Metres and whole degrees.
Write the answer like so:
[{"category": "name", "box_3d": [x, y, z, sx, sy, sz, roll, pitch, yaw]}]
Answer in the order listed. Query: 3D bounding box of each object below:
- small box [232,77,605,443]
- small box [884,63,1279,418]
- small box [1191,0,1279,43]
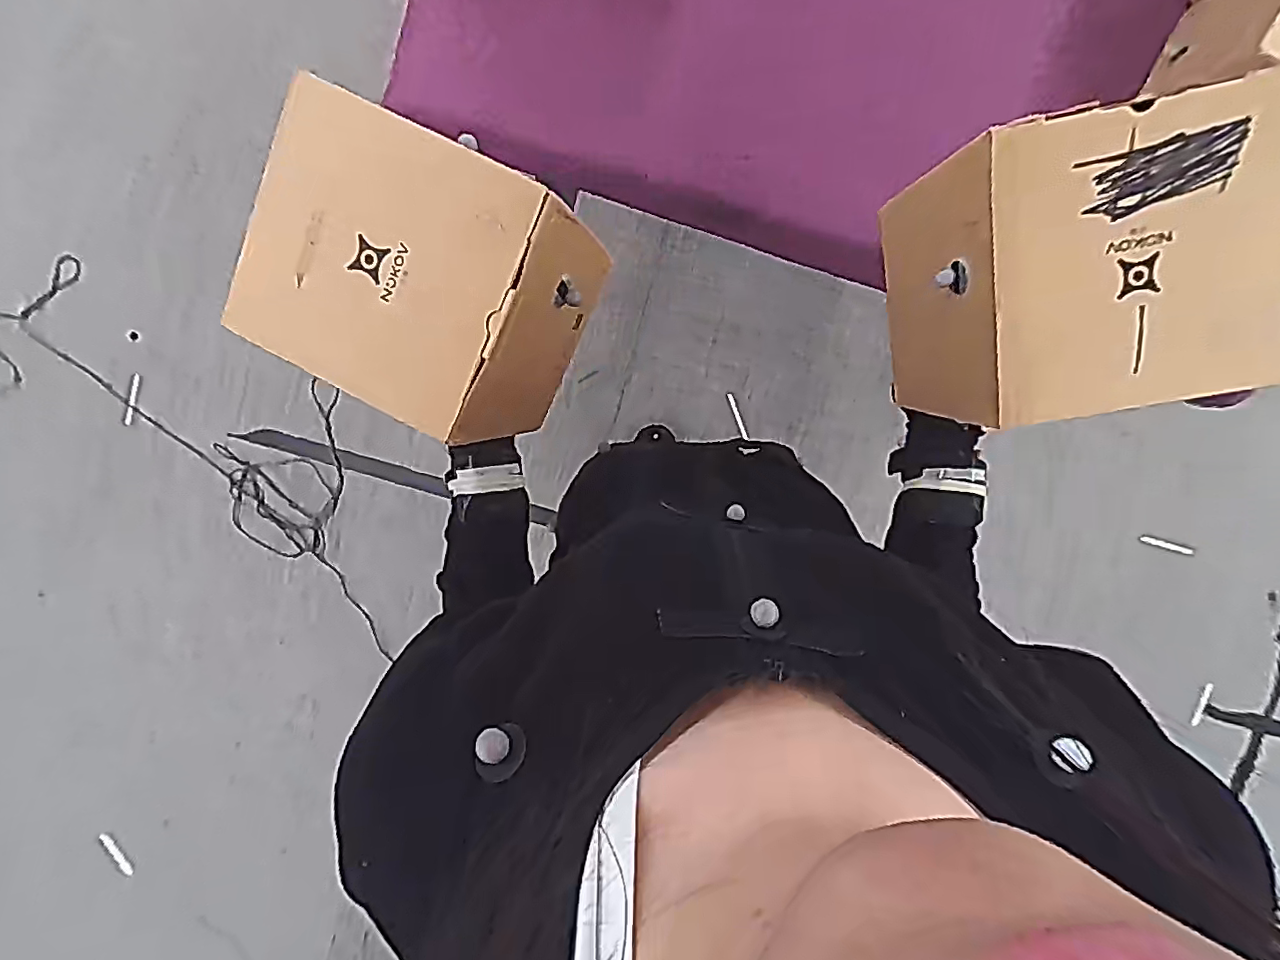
[{"category": "small box", "box_3d": [-0.145, -0.145, 0.410, 0.179, 0.176, 0.168, 26, 102, 5]}, {"category": "small box", "box_3d": [0.295, -0.151, 0.398, 0.168, 0.176, 0.179, -9, 103, 6]}, {"category": "small box", "box_3d": [0.811, -0.674, 0.625, 0.168, 0.176, 0.179, 20, 94, -3]}]
